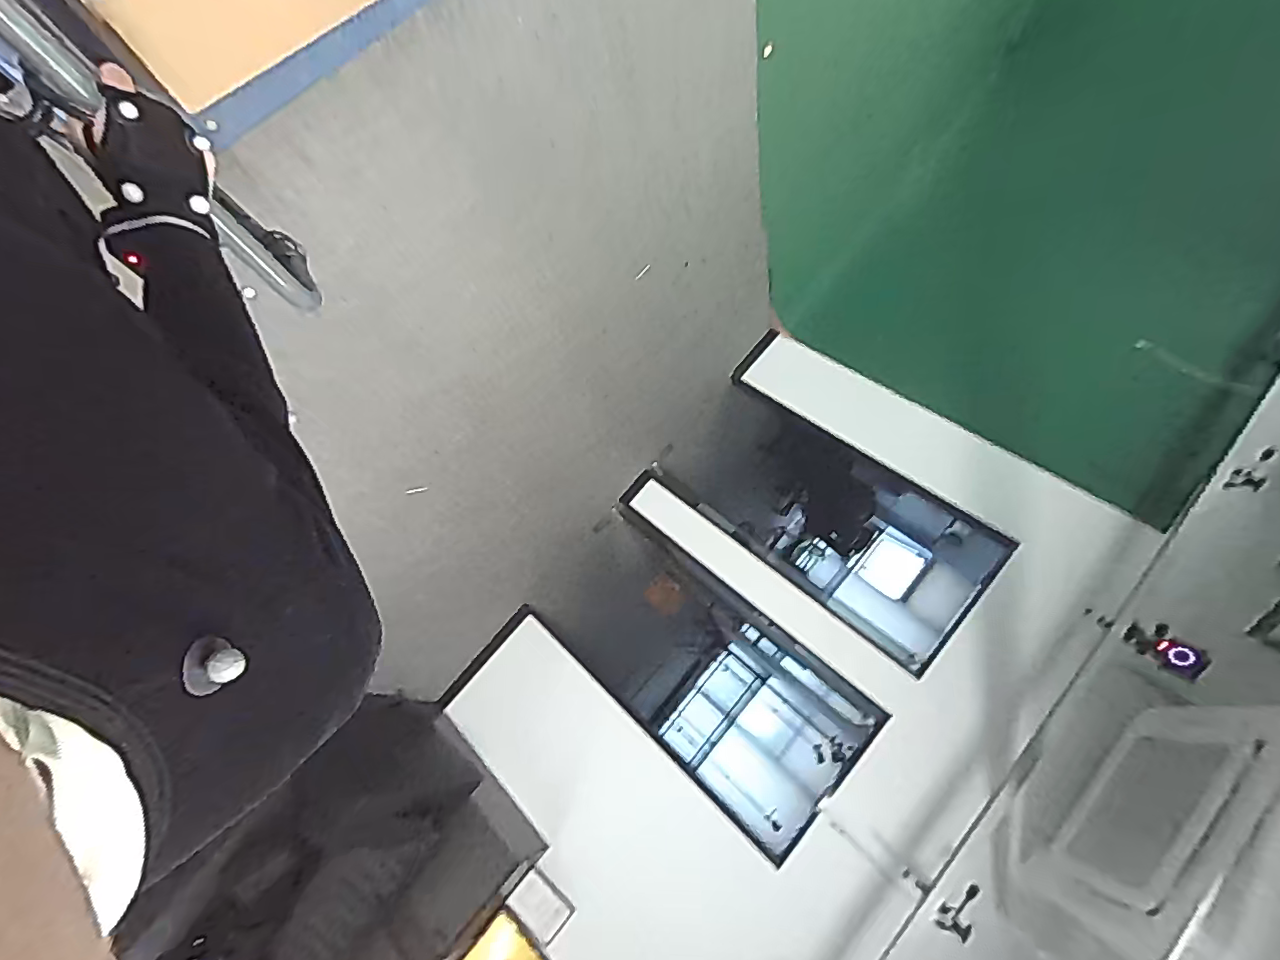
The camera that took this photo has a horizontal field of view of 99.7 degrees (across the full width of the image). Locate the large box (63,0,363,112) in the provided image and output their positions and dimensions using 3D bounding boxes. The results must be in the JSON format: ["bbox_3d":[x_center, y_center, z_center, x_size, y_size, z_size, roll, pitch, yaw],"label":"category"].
[{"bbox_3d":[-0.685,-0.839,0.790,0.408,0.320,0.320,-47,155,-13],"label":"large box"}]
